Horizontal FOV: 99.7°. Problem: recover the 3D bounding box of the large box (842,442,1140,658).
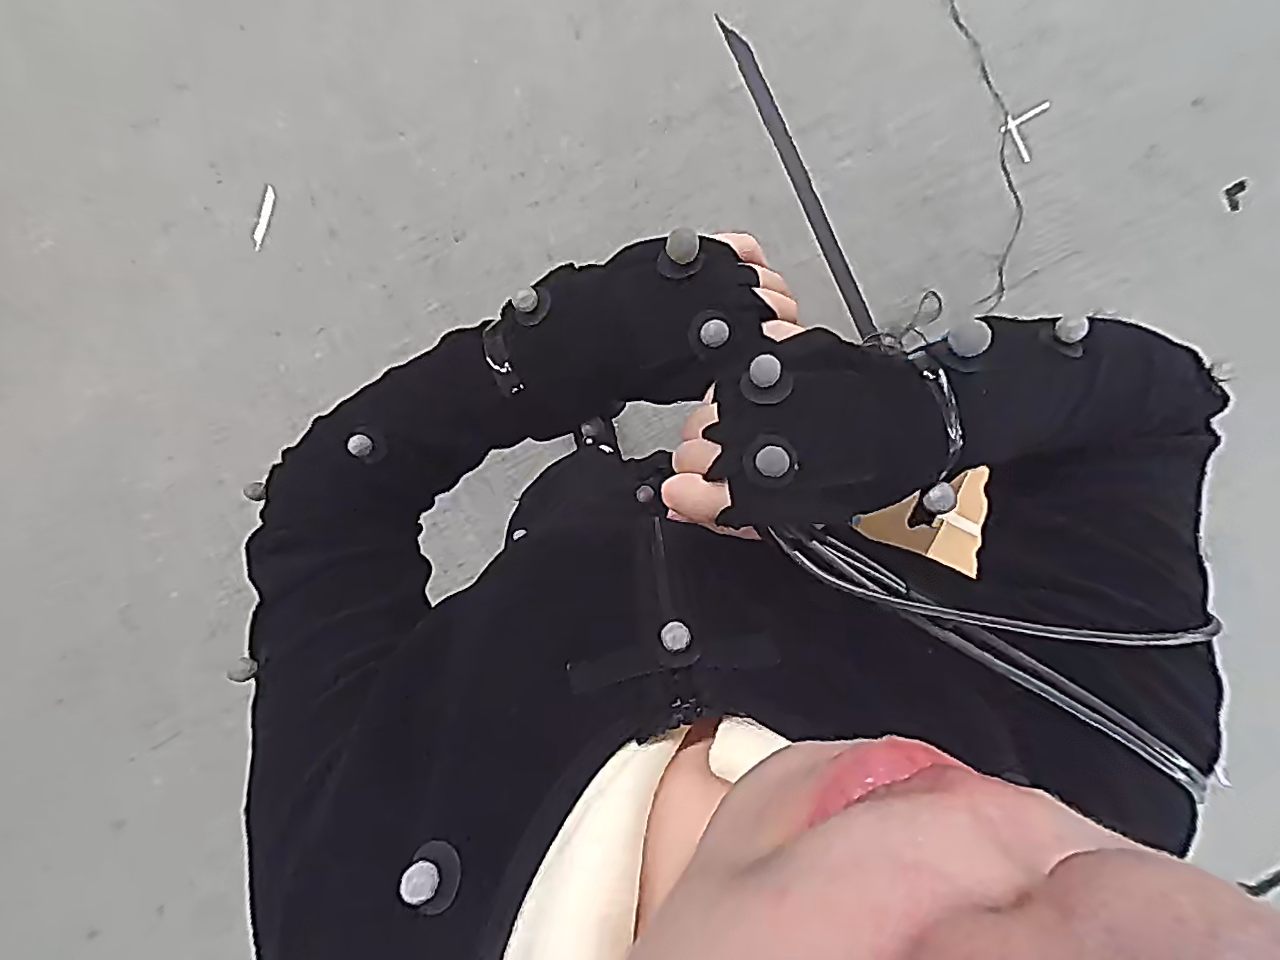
[{"bbox_3d":[0.750,0.133,1.219,0.408,0.320,0.320,26,93,-5],"label":"large box"}]
